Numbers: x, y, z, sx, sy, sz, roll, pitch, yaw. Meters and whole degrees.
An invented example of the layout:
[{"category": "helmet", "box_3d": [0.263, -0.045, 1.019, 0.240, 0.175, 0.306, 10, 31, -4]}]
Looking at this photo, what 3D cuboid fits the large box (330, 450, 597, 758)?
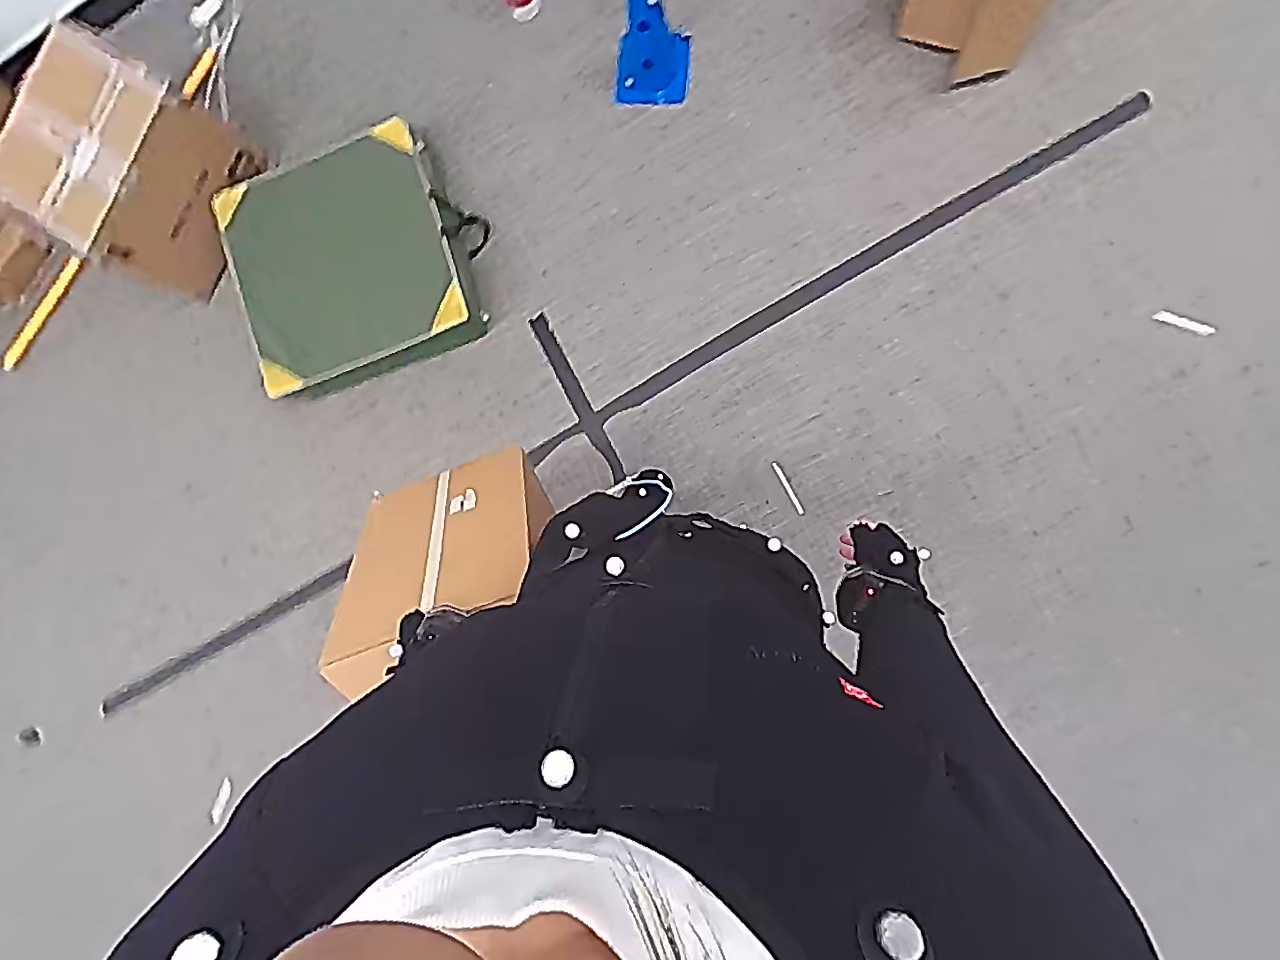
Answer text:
[{"category": "large box", "box_3d": [-0.292, 0.210, 1.001, 0.320, 0.408, 0.320, -19, 125, 0]}]
